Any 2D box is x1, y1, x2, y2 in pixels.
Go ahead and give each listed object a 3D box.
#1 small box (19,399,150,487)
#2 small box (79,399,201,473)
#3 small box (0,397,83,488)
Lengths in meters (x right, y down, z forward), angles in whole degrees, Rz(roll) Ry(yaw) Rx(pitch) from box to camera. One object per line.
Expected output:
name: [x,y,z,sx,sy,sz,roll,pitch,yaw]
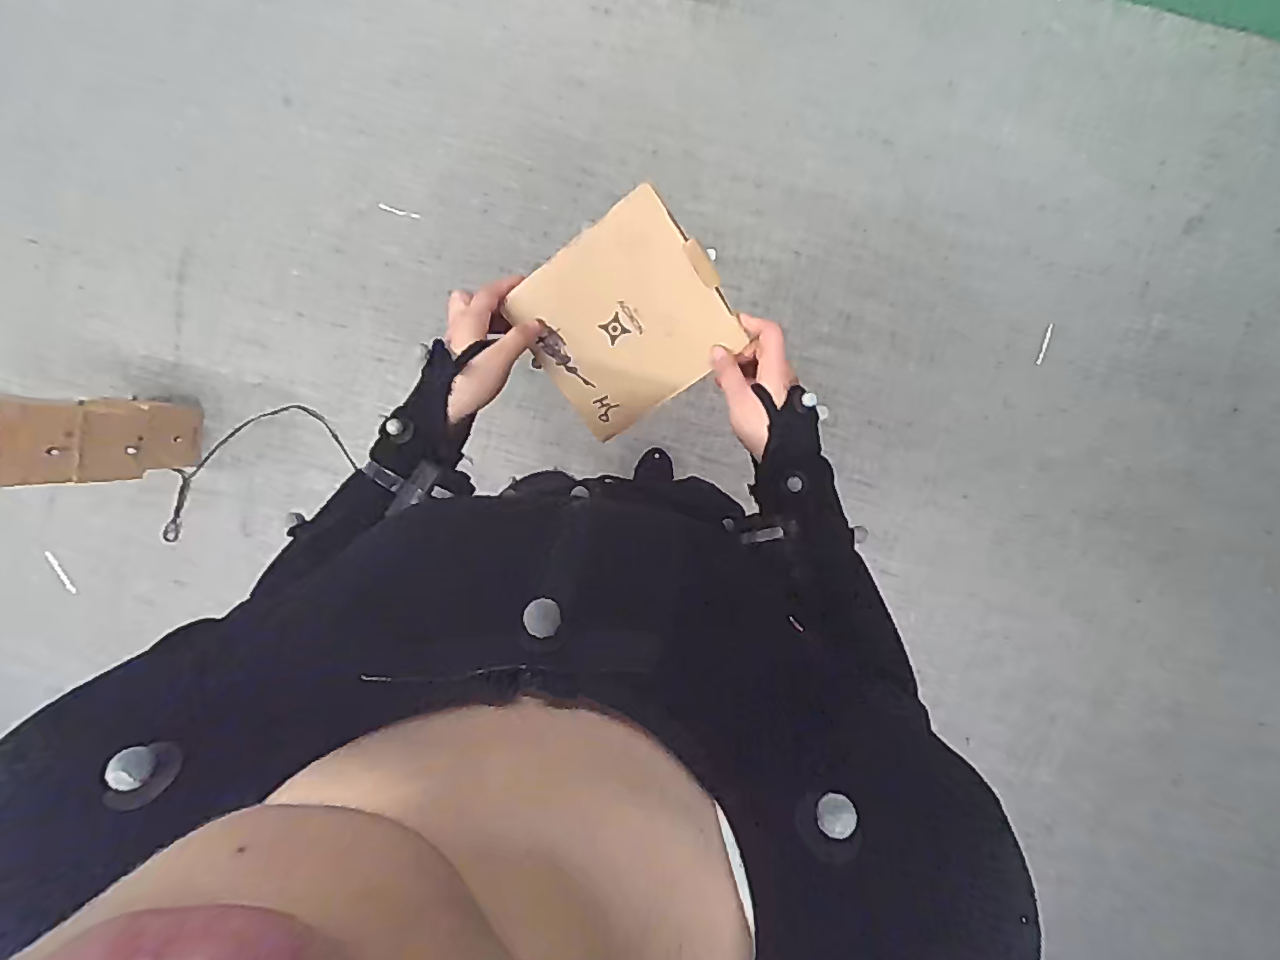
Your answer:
small box: [-1.302,-0.085,1.249,0.179,0.176,0.168,11,95,-1]
small box: [-1.299,-0.115,1.411,0.179,0.176,0.168,8,94,1]
small box: [-1.299,-0.078,1.086,0.179,0.176,0.168,10,94,-1]
